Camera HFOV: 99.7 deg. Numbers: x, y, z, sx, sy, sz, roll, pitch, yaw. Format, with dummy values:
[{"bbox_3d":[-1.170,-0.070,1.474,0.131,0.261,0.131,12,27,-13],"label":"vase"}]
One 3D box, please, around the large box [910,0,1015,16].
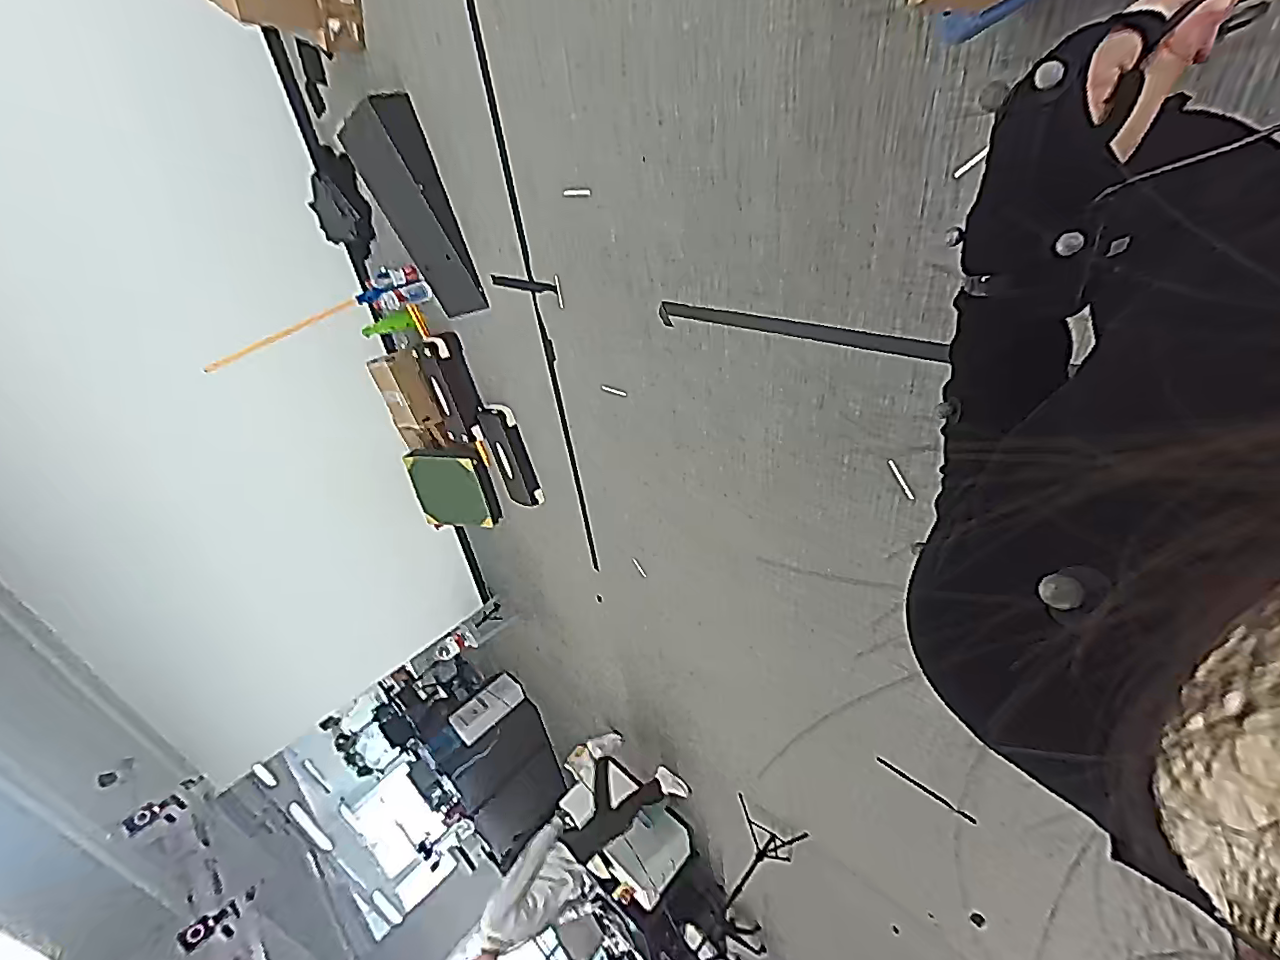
[{"bbox_3d":[0.569,-0.860,0.656,0.408,0.320,0.320,3,119,50],"label":"large box"}]
